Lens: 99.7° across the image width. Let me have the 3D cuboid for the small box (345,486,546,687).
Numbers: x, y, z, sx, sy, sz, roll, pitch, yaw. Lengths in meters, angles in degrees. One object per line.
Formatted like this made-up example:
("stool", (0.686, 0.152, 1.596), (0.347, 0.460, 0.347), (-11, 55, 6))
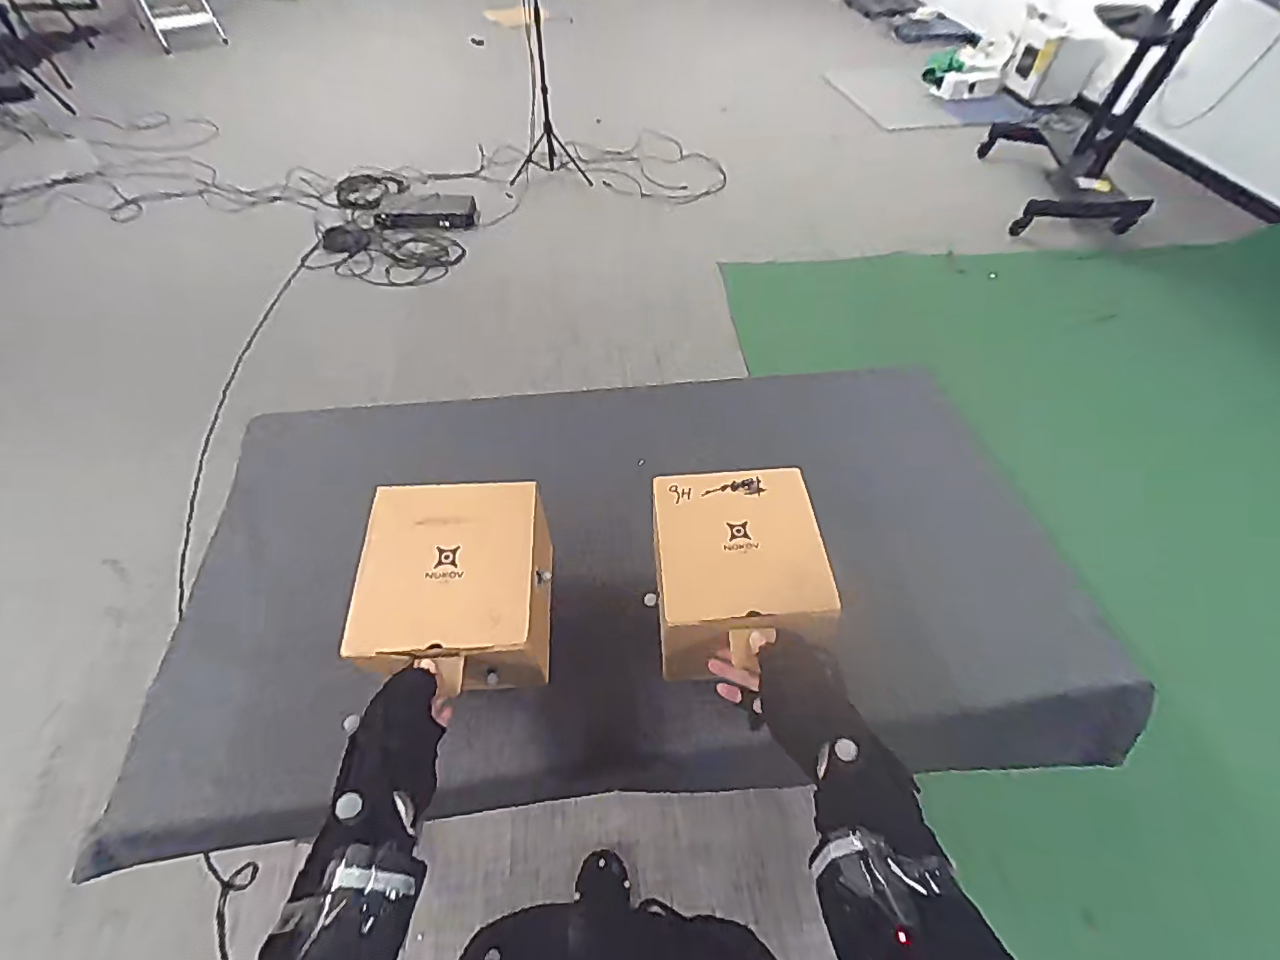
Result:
("small box", (-0.196, 0.125, 0.604), (0.168, 0.176, 0.179), (-2, 58, -5))
